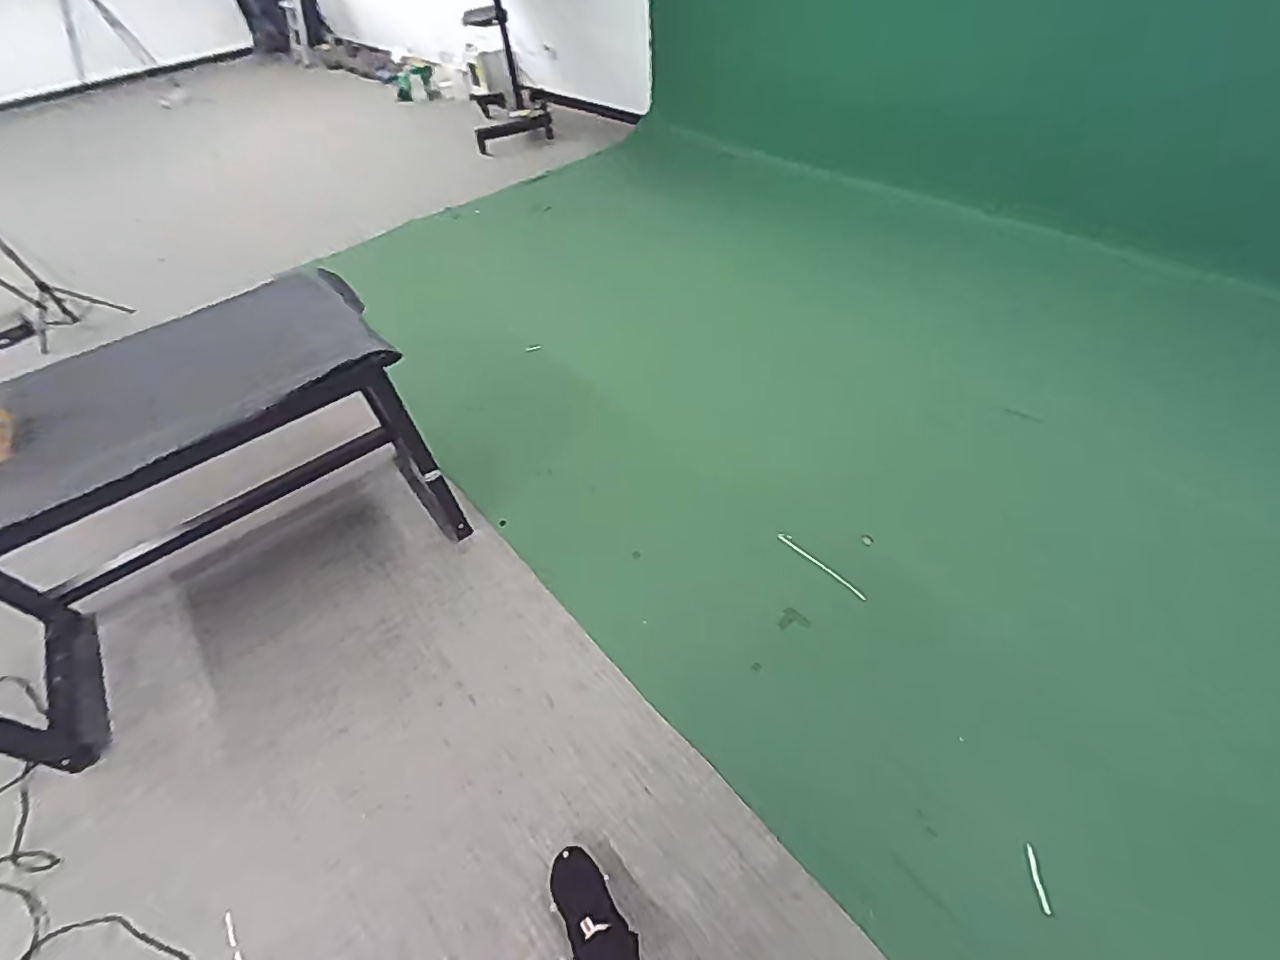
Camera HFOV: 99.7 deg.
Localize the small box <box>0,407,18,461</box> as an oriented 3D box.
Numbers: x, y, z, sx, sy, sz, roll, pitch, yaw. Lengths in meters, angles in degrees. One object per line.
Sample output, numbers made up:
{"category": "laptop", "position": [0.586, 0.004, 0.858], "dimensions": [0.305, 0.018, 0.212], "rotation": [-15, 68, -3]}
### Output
{"category": "small box", "position": [-1.449, -0.104, 1.097], "dimensions": [0.179, 0.176, 0.168], "rotation": [-30, 53, -21]}
